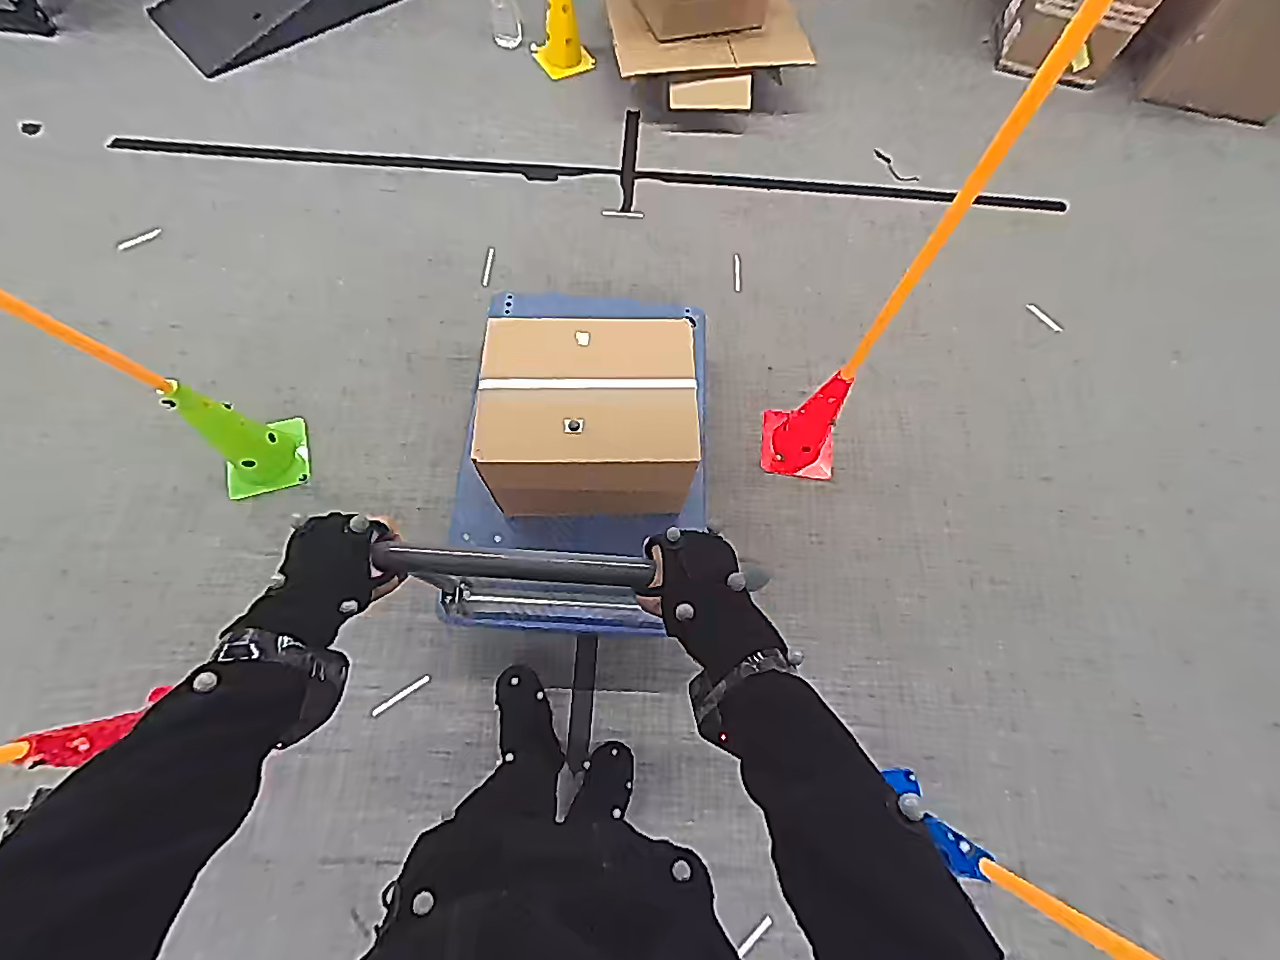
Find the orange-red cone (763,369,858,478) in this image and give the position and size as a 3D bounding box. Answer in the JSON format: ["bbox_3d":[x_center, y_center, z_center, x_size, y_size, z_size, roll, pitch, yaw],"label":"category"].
[{"bbox_3d":[0.460,-0.169,1.365,0.199,0.360,0.198,10,69,0],"label":"orange-red cone"}]
